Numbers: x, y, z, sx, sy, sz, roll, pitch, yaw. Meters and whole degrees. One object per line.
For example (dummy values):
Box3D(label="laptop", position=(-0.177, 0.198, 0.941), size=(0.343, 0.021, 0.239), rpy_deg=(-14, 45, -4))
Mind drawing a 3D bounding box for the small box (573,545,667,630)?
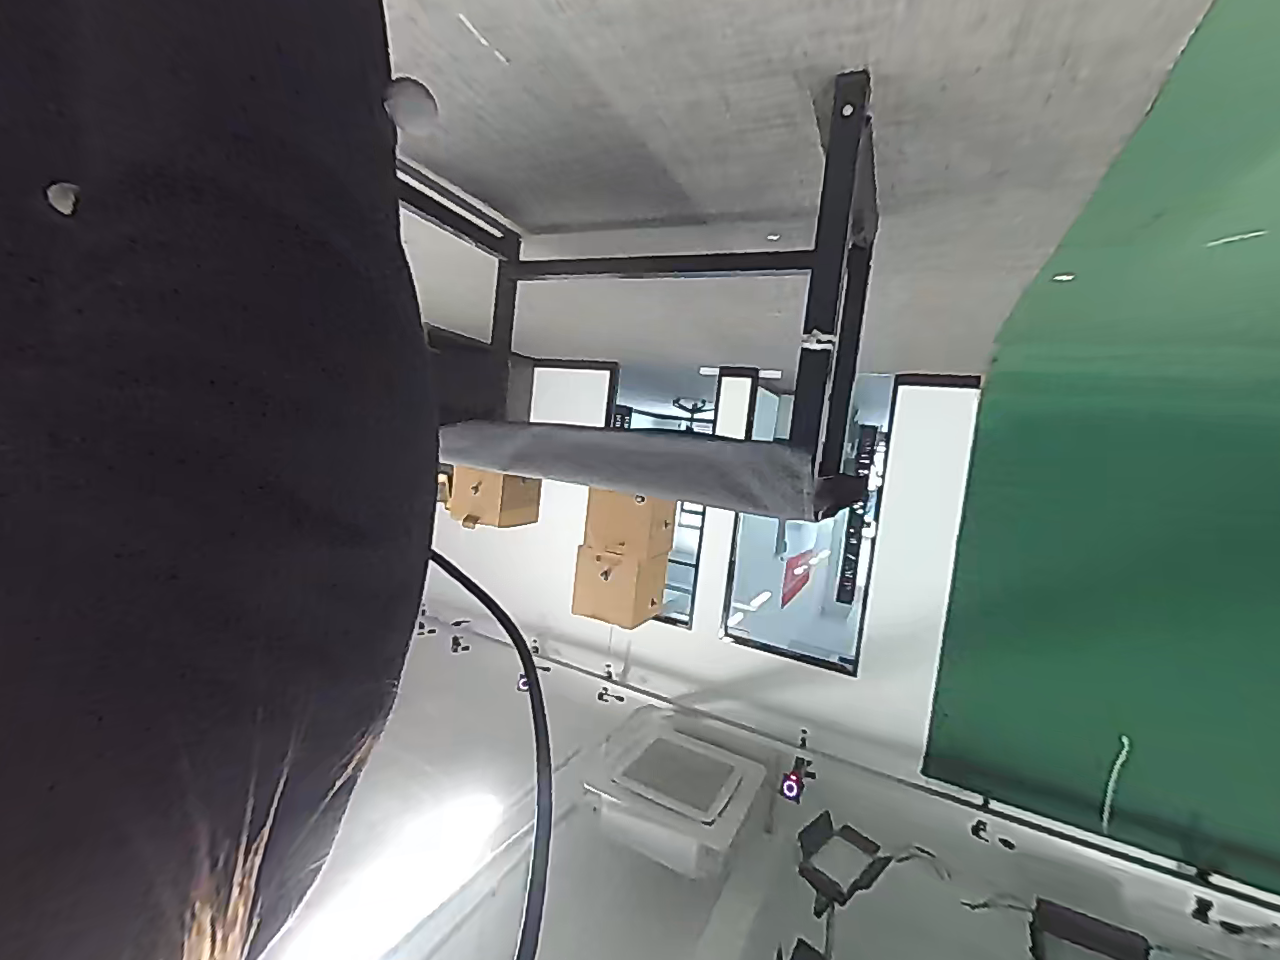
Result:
Box3D(label="small box", position=(-0.043, 0.243, 1.314), size=(0.168, 0.176, 0.179), rpy_deg=(7, -176, 25))

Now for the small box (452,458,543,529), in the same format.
Box3D(label="small box", position=(-0.381, 0.032, 1.458), size=(0.168, 0.176, 0.179), rpy_deg=(8, -176, 24))

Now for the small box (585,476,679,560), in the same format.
Box3D(label="small box", position=(-0.015, 0.082, 1.288), size=(0.168, 0.176, 0.179), rpy_deg=(8, -175, 22))
